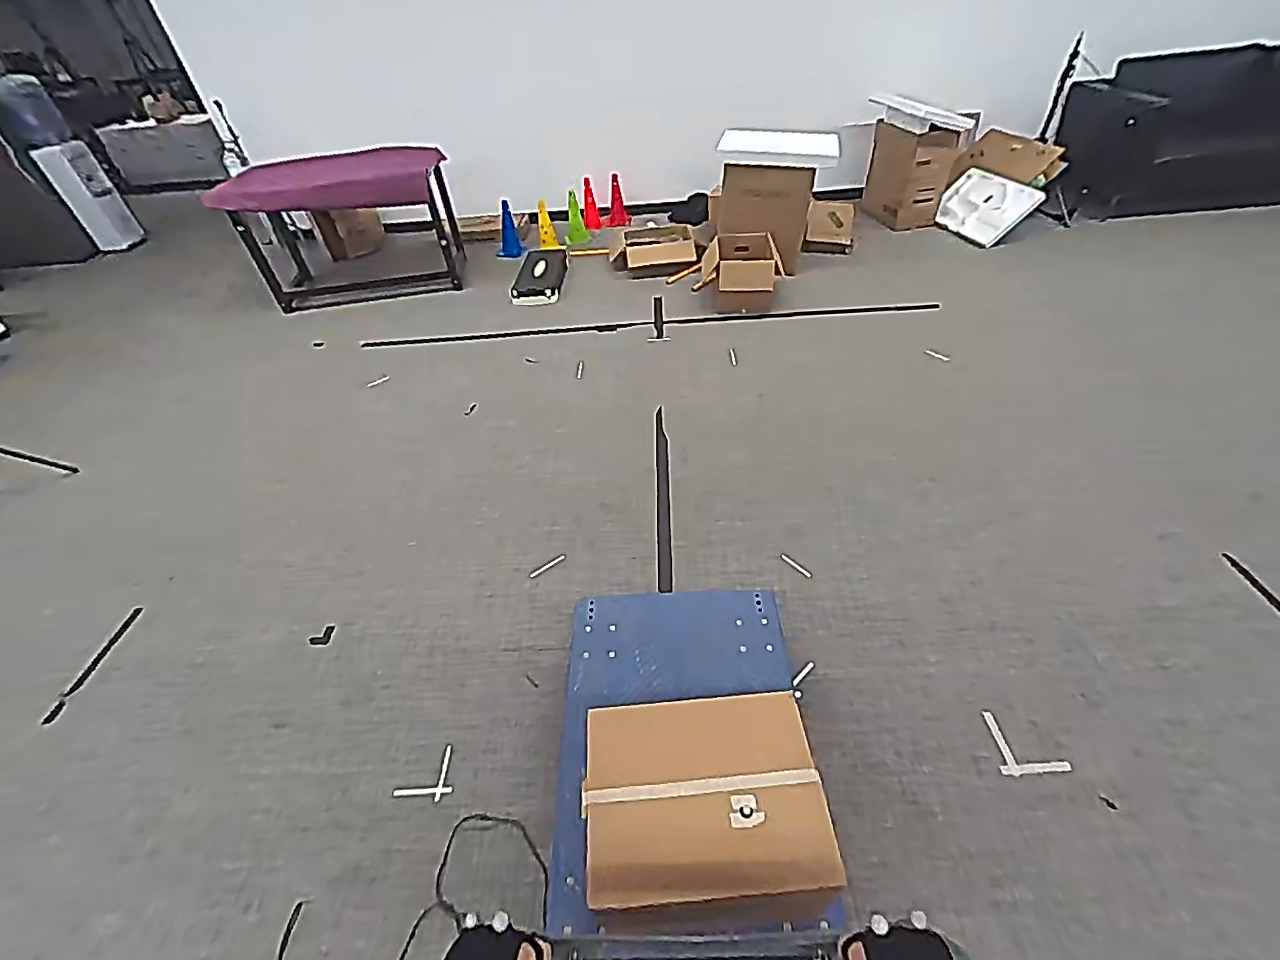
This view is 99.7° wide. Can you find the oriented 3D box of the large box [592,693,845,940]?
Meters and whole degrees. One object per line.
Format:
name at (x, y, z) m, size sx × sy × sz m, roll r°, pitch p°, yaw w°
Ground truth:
large box at (0.122, 0.651, 1.050) m, size 0.408 × 0.320 × 0.320 m, roll -5°, pitch 44°, yaw -1°
